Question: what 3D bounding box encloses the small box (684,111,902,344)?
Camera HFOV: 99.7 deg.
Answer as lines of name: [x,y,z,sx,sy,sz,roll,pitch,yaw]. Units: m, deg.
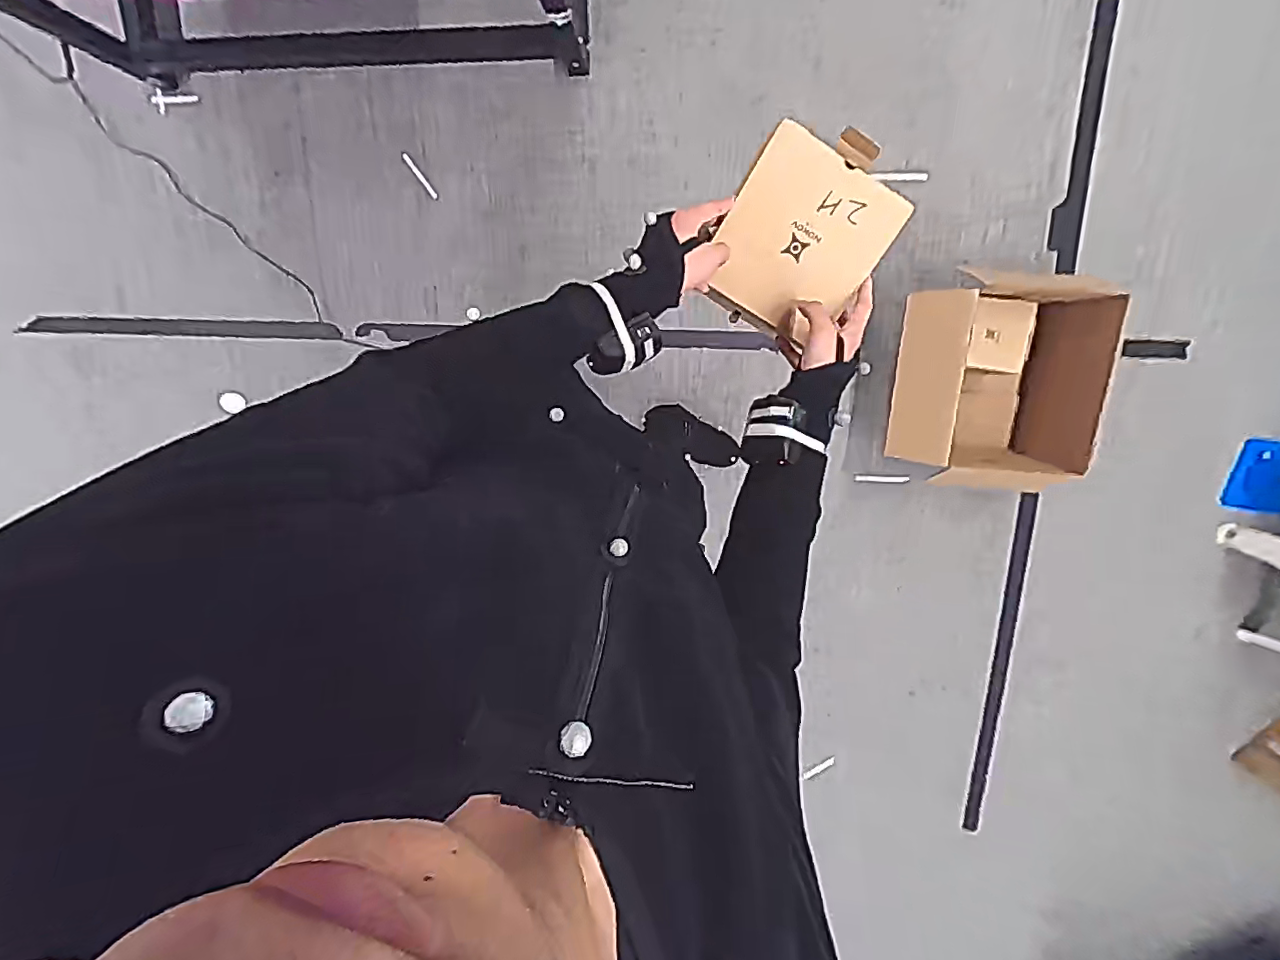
small box: [0.165,-0.285,0.651,0.168,0.176,0.179,29,105,-8]
